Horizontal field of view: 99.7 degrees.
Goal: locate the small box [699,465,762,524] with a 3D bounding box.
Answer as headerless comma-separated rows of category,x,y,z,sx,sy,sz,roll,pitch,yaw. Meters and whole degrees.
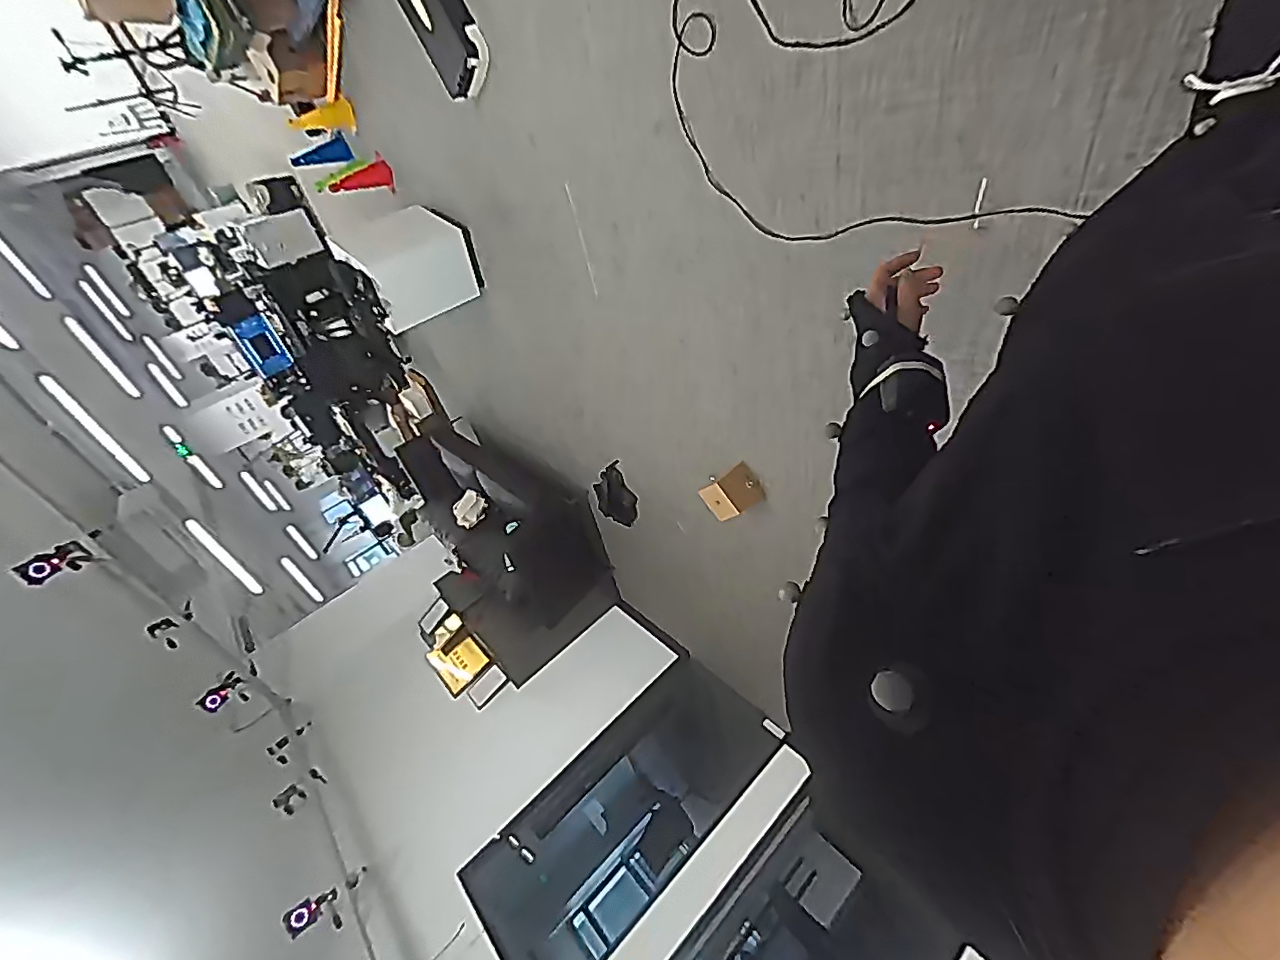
small box,0.390,0.063,2.318,0.168,0.176,0.179,52,154,0
